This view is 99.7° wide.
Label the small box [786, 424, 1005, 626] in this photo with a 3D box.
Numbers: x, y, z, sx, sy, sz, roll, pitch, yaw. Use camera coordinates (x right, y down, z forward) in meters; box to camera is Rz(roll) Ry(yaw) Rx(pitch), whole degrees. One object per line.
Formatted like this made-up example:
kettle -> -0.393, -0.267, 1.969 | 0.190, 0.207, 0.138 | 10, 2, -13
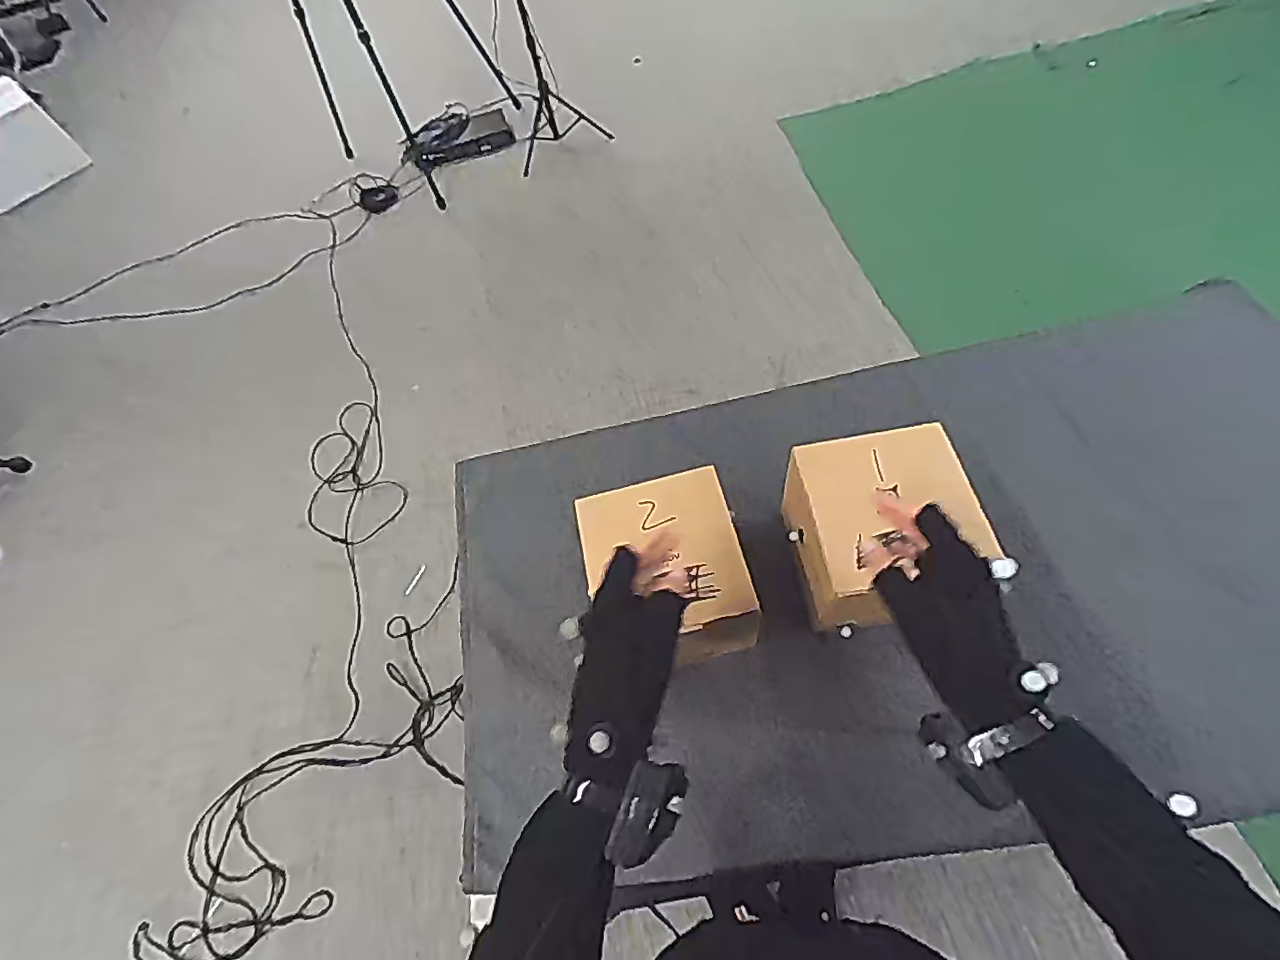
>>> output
small box -> 0.274, 0.063, 0.630 | 0.168, 0.176, 0.179 | -10, 60, 5
